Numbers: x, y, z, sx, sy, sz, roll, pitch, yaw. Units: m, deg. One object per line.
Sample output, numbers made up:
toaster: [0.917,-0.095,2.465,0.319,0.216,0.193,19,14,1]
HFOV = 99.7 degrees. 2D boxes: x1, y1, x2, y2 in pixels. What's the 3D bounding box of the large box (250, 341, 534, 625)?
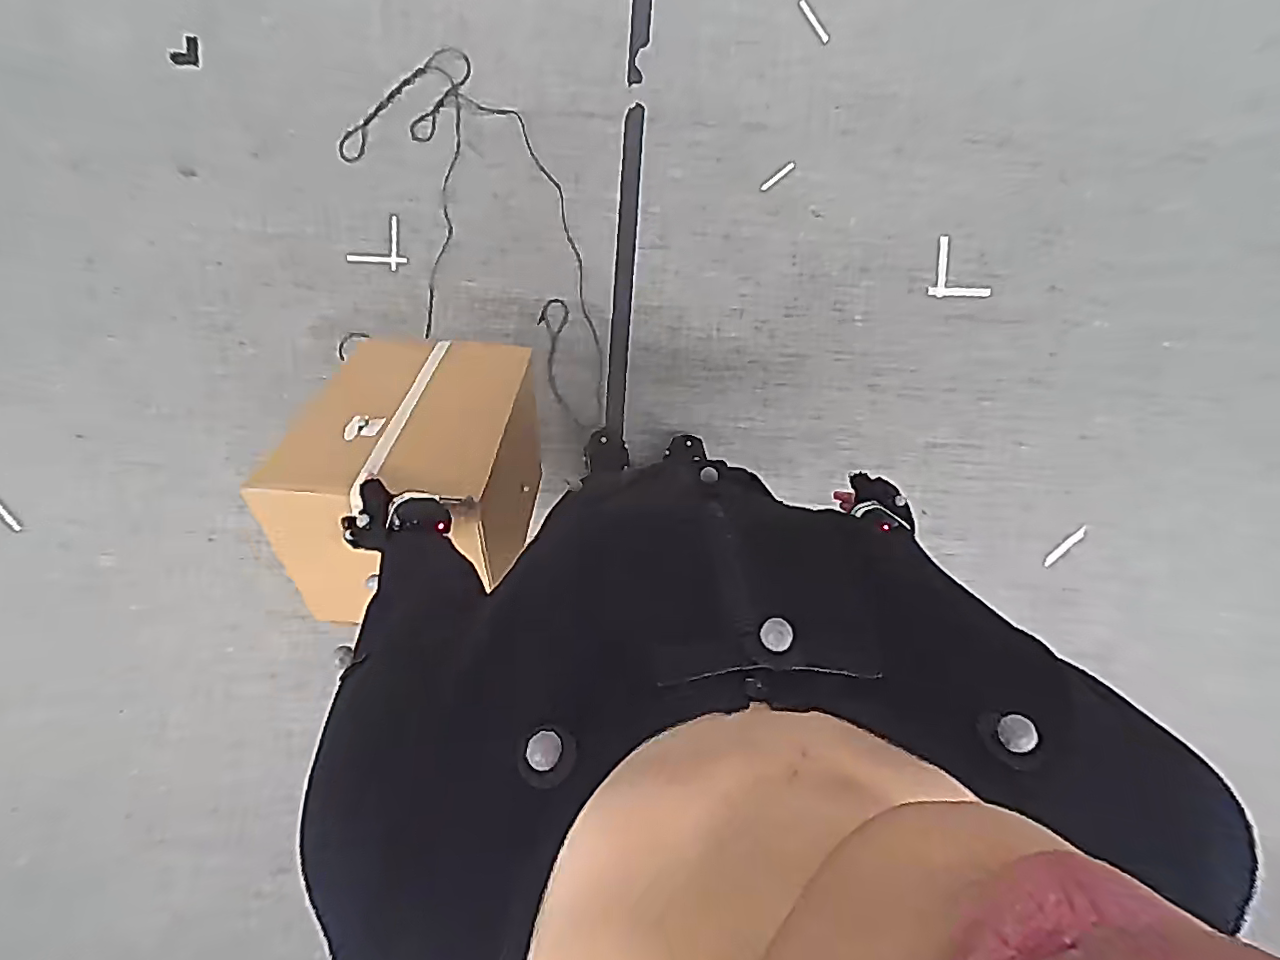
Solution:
large box: [-0.373,-0.003,0.959,0.320,0.408,0.320,3,133,-1]
